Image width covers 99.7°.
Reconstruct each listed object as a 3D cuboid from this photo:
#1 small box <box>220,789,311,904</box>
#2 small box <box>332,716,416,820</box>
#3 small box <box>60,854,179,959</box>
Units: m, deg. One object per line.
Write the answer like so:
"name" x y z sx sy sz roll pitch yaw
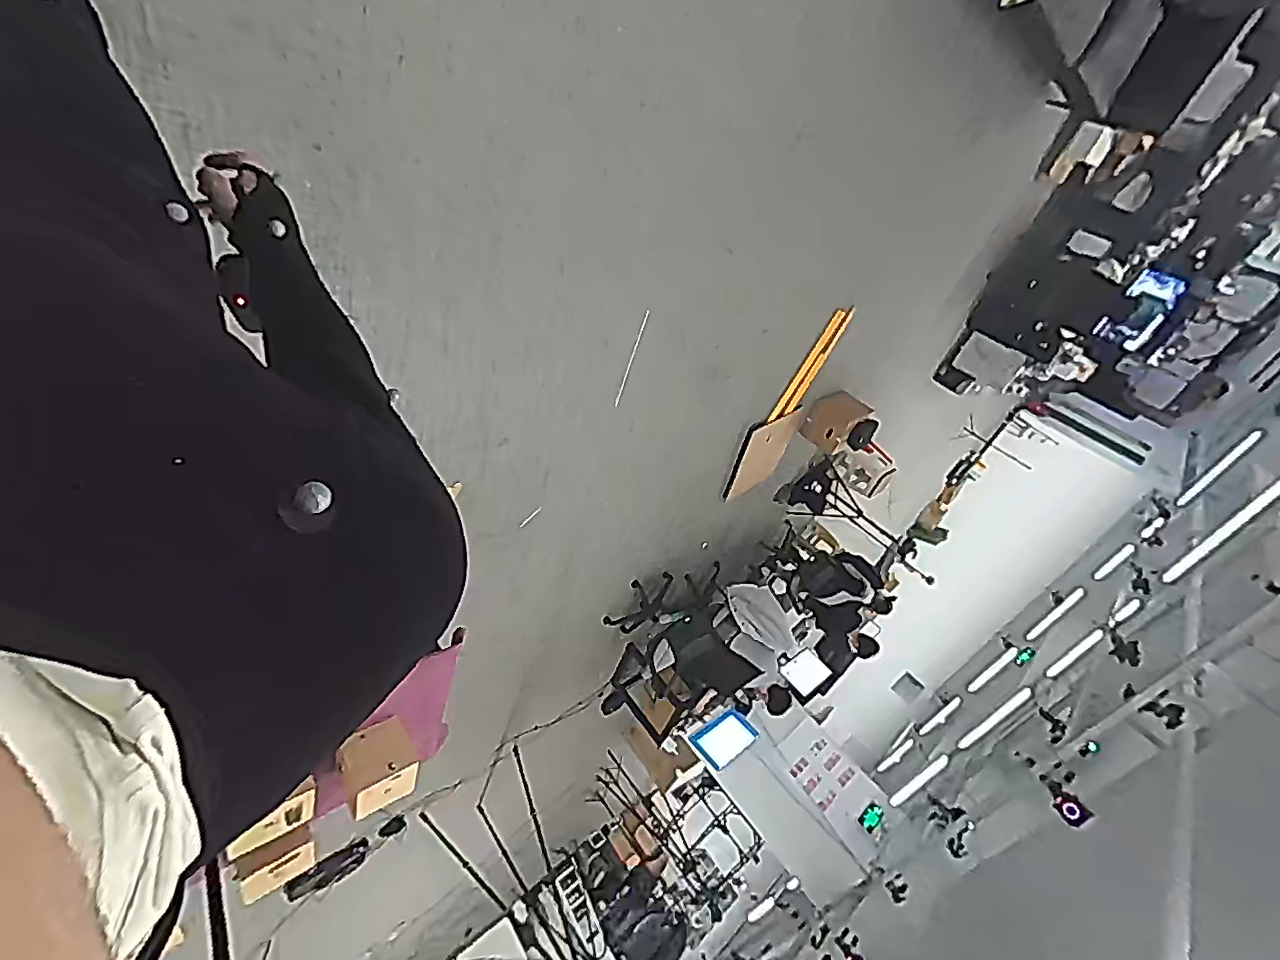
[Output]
"small box" -1.005 0.974 1.454 0.168 0.176 0.179 -15 138 -42
"small box" -0.773 0.825 1.562 0.168 0.176 0.179 -15 138 -44
"small box" -1.208 1.024 1.260 0.168 0.176 0.179 -16 138 -42
